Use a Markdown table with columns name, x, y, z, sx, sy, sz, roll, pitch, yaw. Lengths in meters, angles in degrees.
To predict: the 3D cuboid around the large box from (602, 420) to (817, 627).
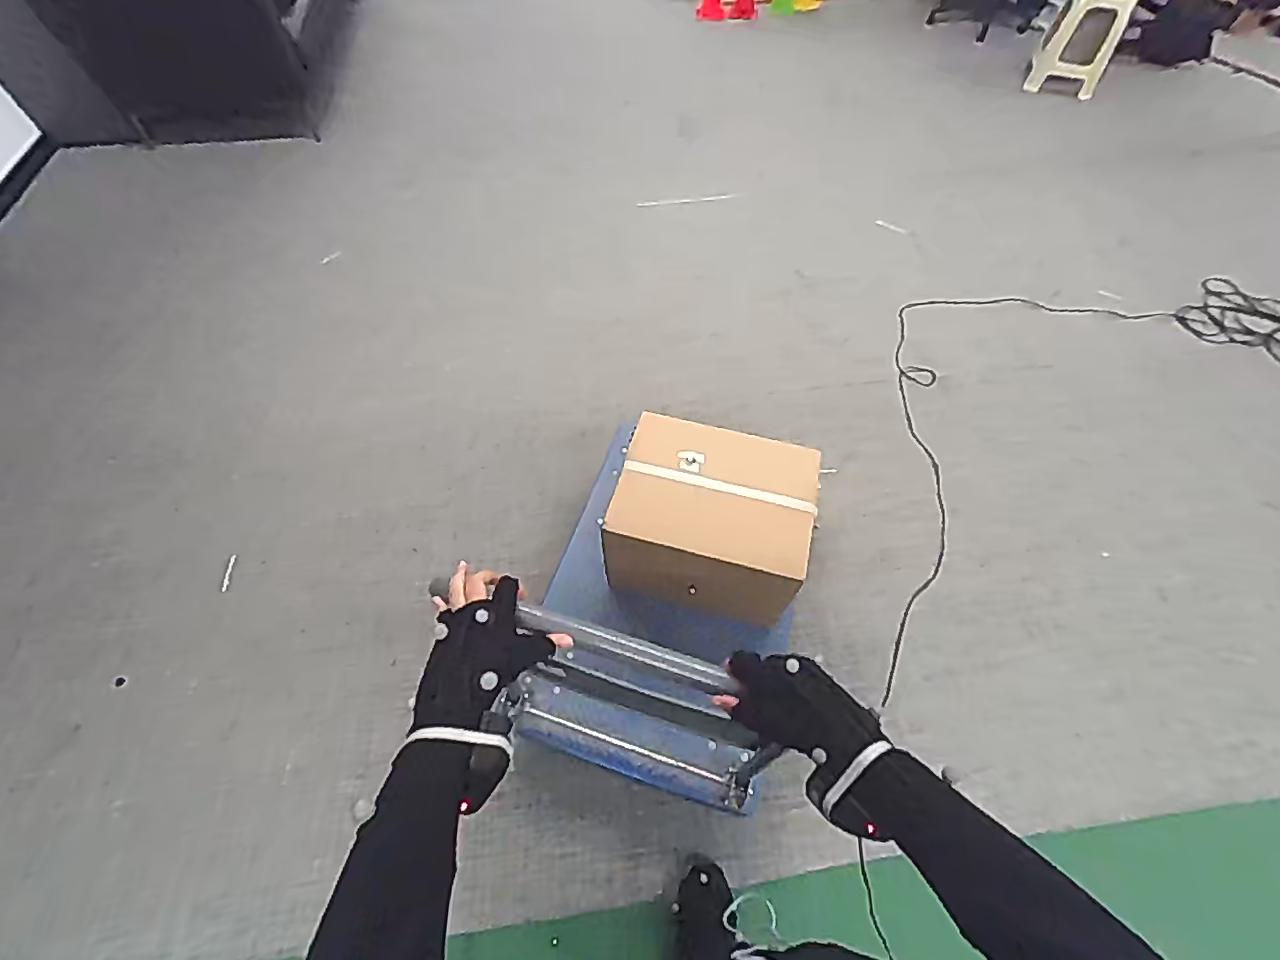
| name | x | y | z | sx | sy | sz | roll | pitch | yaw |
| --- | --- | --- | --- | --- | --- | --- | --- | --- | --- |
| large box | 0.159 | 0.106 | 1.247 | 0.408 | 0.320 | 0.320 | 13 | 58 | 10 |
